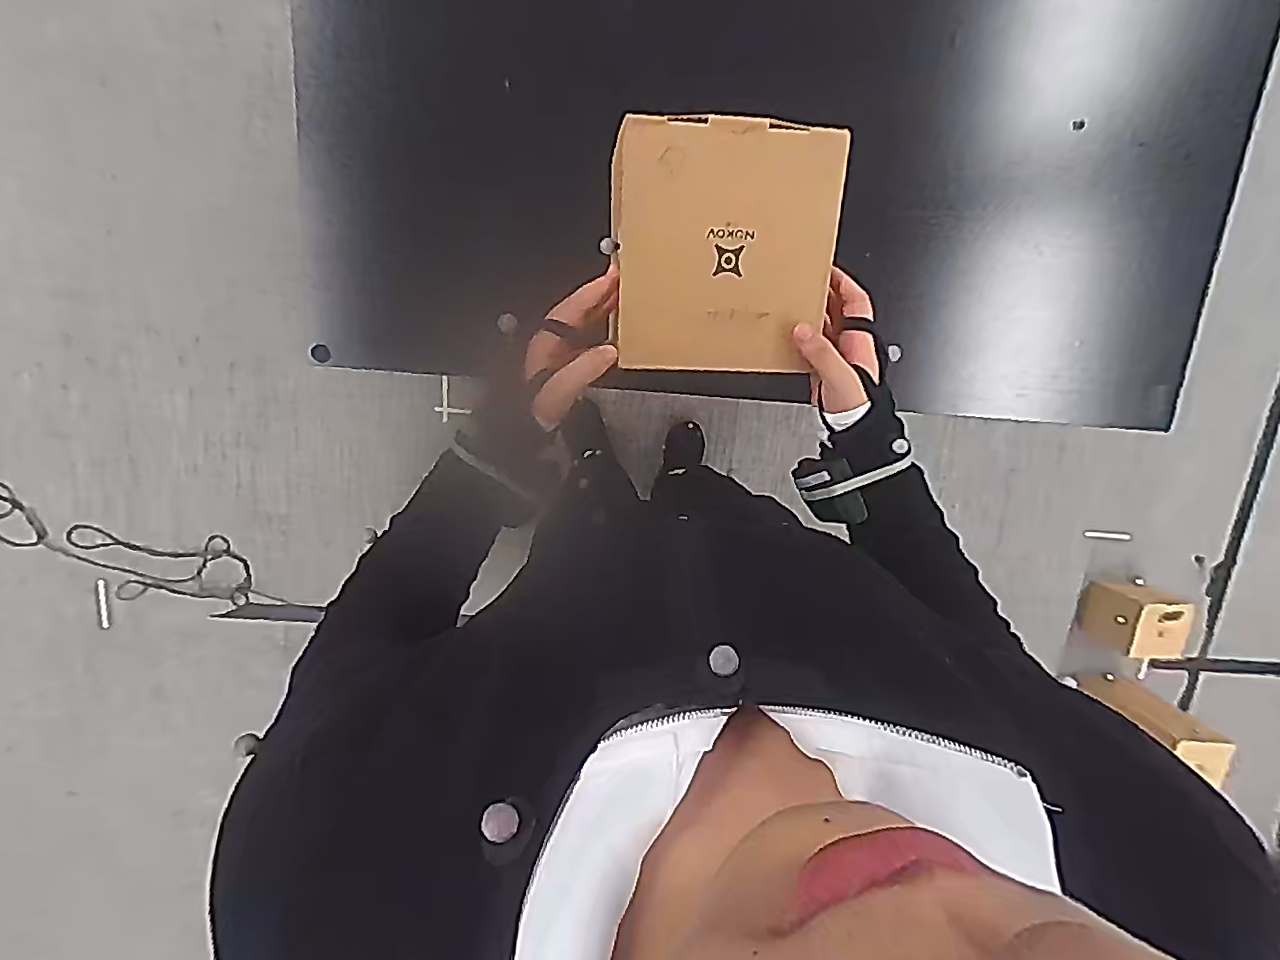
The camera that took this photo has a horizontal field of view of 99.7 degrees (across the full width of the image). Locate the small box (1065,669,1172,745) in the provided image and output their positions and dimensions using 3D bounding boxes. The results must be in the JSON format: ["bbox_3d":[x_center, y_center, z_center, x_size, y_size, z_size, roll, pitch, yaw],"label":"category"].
[{"bbox_3d":[1.503,0.716,1.710,0.179,0.176,0.168,4,102,-5],"label":"small box"}]

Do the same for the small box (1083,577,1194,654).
[{"bbox_3d":[1.496,0.404,1.635,0.168,0.176,0.179,2,103,-5],"label":"small box"}]

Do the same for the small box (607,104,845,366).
[{"bbox_3d":[0.057,-0.204,0.483,0.168,0.176,0.179,1,111,-5],"label":"small box"}]

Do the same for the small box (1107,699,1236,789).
[{"bbox_3d":[1.510,0.749,1.547,0.179,0.176,0.168,6,102,-5],"label":"small box"}]
